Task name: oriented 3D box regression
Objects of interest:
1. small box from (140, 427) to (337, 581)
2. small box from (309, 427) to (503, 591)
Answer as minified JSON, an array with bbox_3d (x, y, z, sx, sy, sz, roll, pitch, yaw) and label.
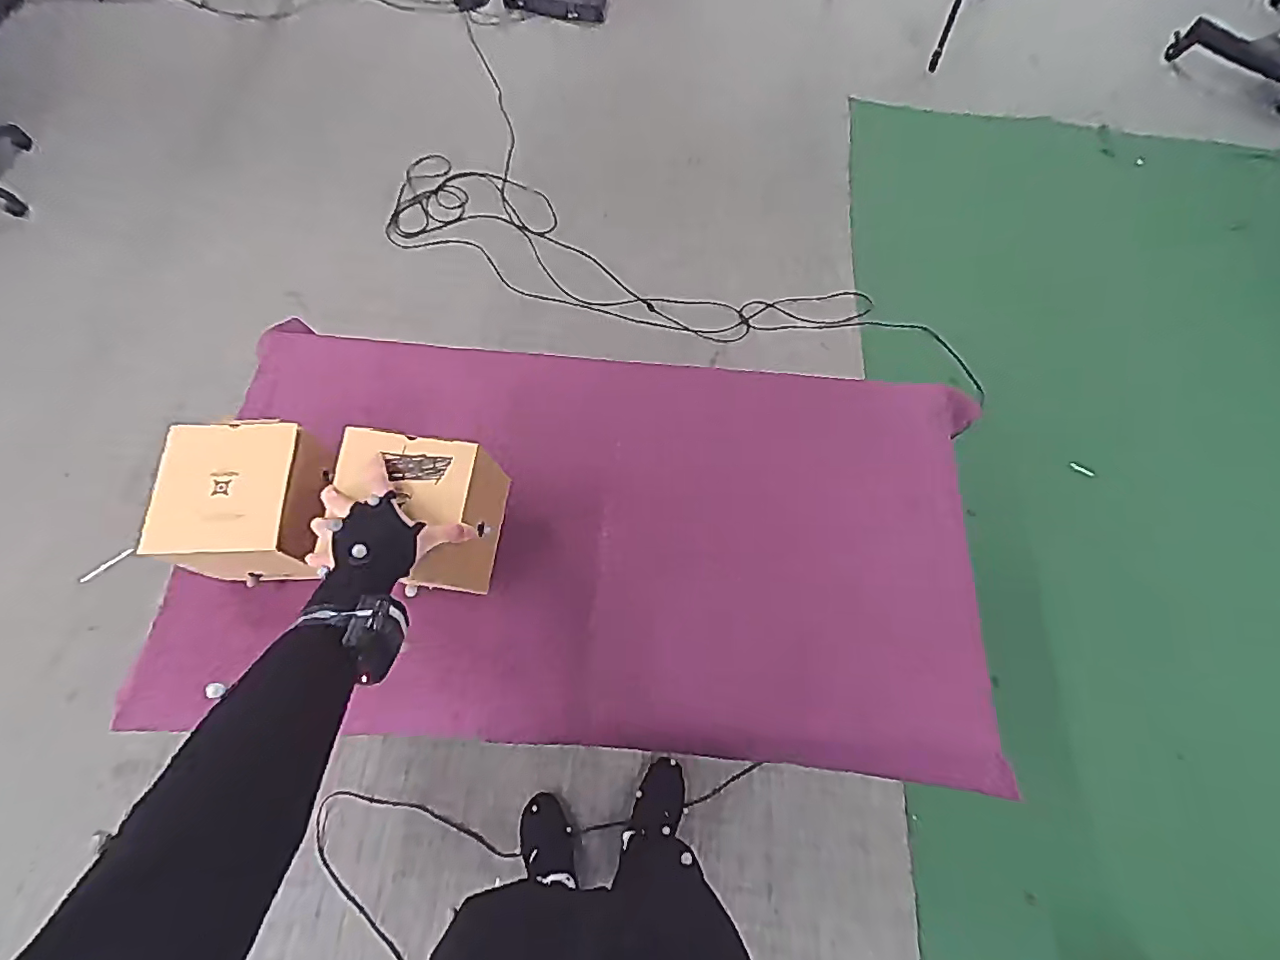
[{"bbox_3d":[-0.538,0.039,0.772,0.168,0.176,0.179,-1,68,-2],"label":"small box"},{"bbox_3d":[-0.292,0.047,0.722,0.168,0.176,0.179,7,76,3],"label":"small box"}]
